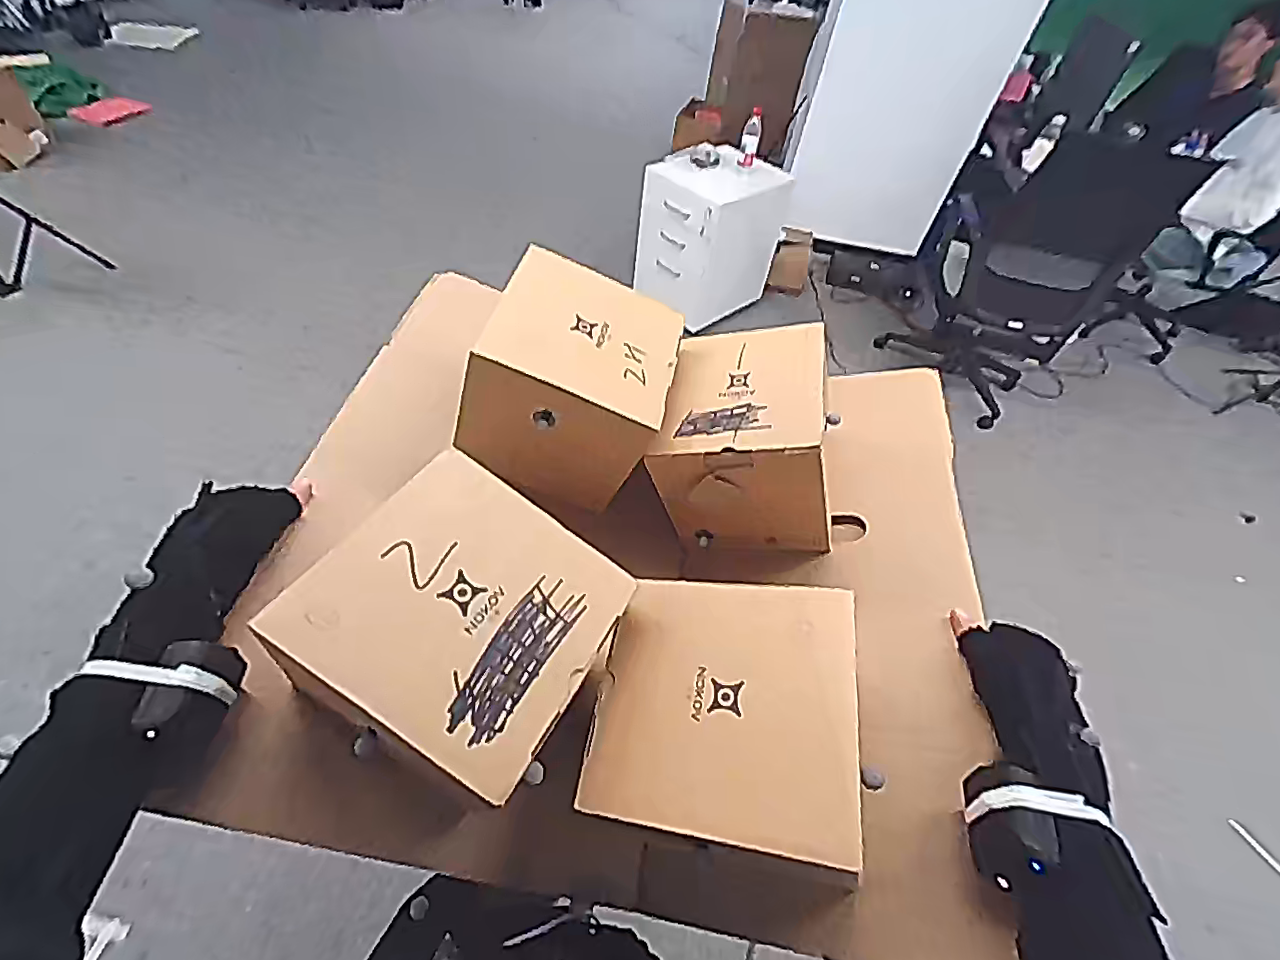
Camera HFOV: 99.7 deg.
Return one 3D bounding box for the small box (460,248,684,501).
[{"bbox_3d":[-0.076,-0.101,0.579,0.179,0.176,0.168,23,54,-11],"label":"small box"}]
